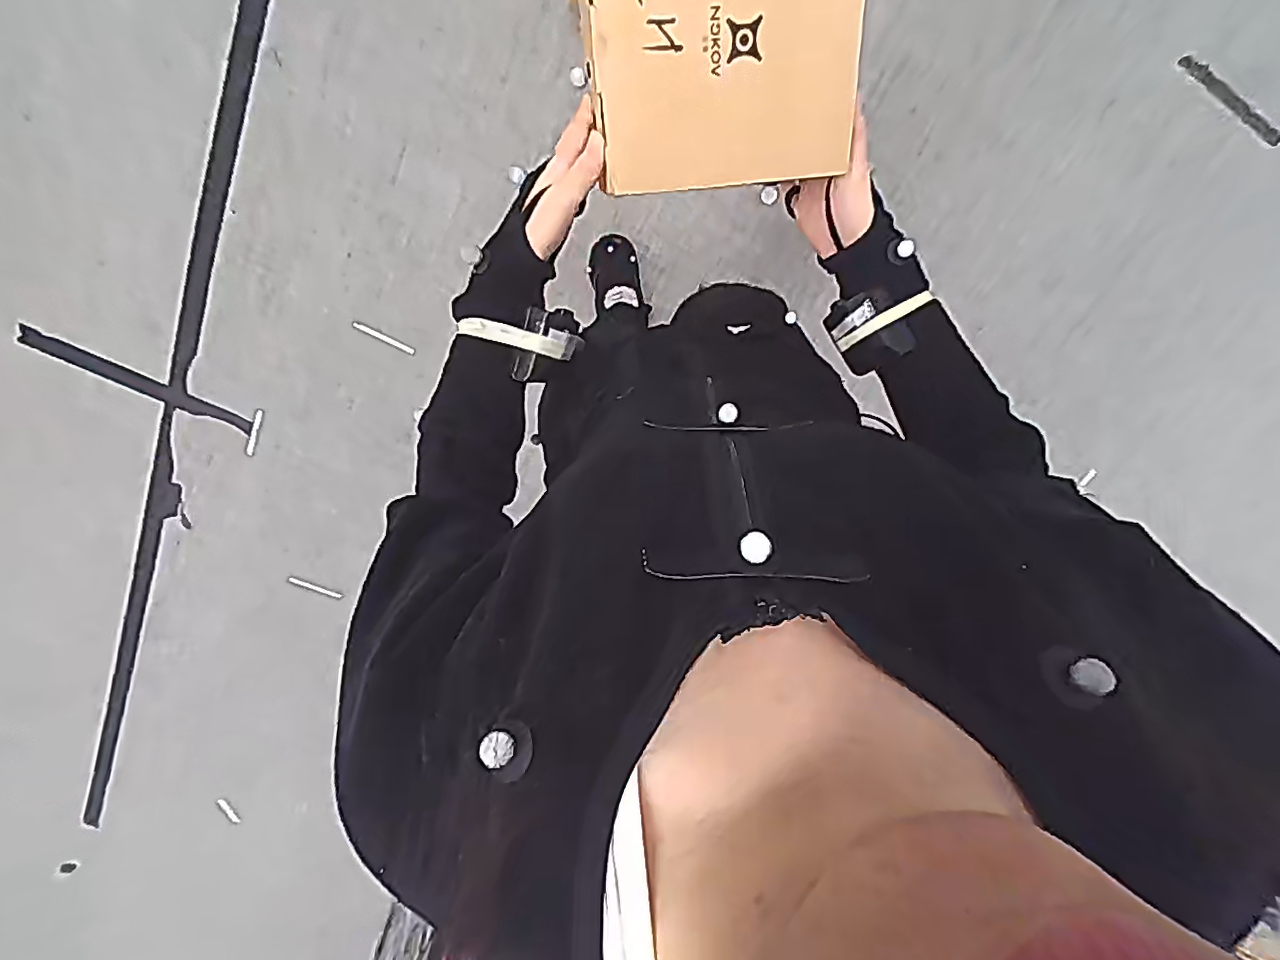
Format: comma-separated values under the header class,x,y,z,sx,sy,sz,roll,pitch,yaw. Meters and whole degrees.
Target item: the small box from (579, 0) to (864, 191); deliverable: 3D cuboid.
class,x,y,z,sx,sy,sz,roll,pitch,yaw
small box,0.049,-0.323,0.412,0.179,0.176,0.168,-7,120,-3
